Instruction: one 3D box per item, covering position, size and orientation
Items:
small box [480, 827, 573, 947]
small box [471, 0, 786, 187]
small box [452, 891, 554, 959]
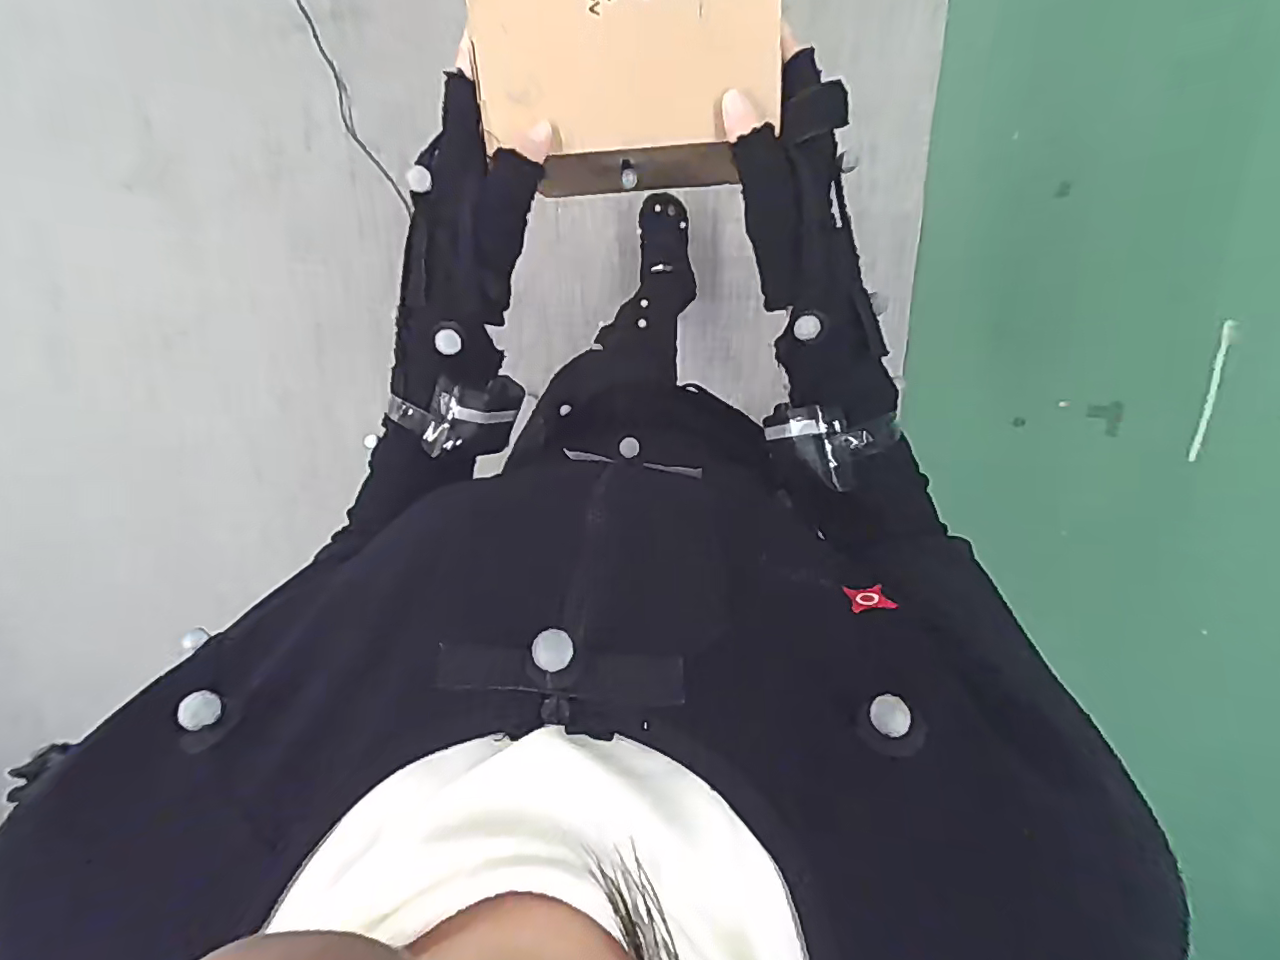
[{"bbox_3d":[-0.271,0.987,1.324,0.179,0.176,0.168,-1,104,7],"label":"small box"},{"bbox_3d":[-0.005,-0.306,0.364,0.179,0.176,0.168,-4,111,4],"label":"small box"},{"bbox_3d":[-0.293,1.034,1.169,0.168,0.176,0.179,-2,103,8],"label":"small box"}]
